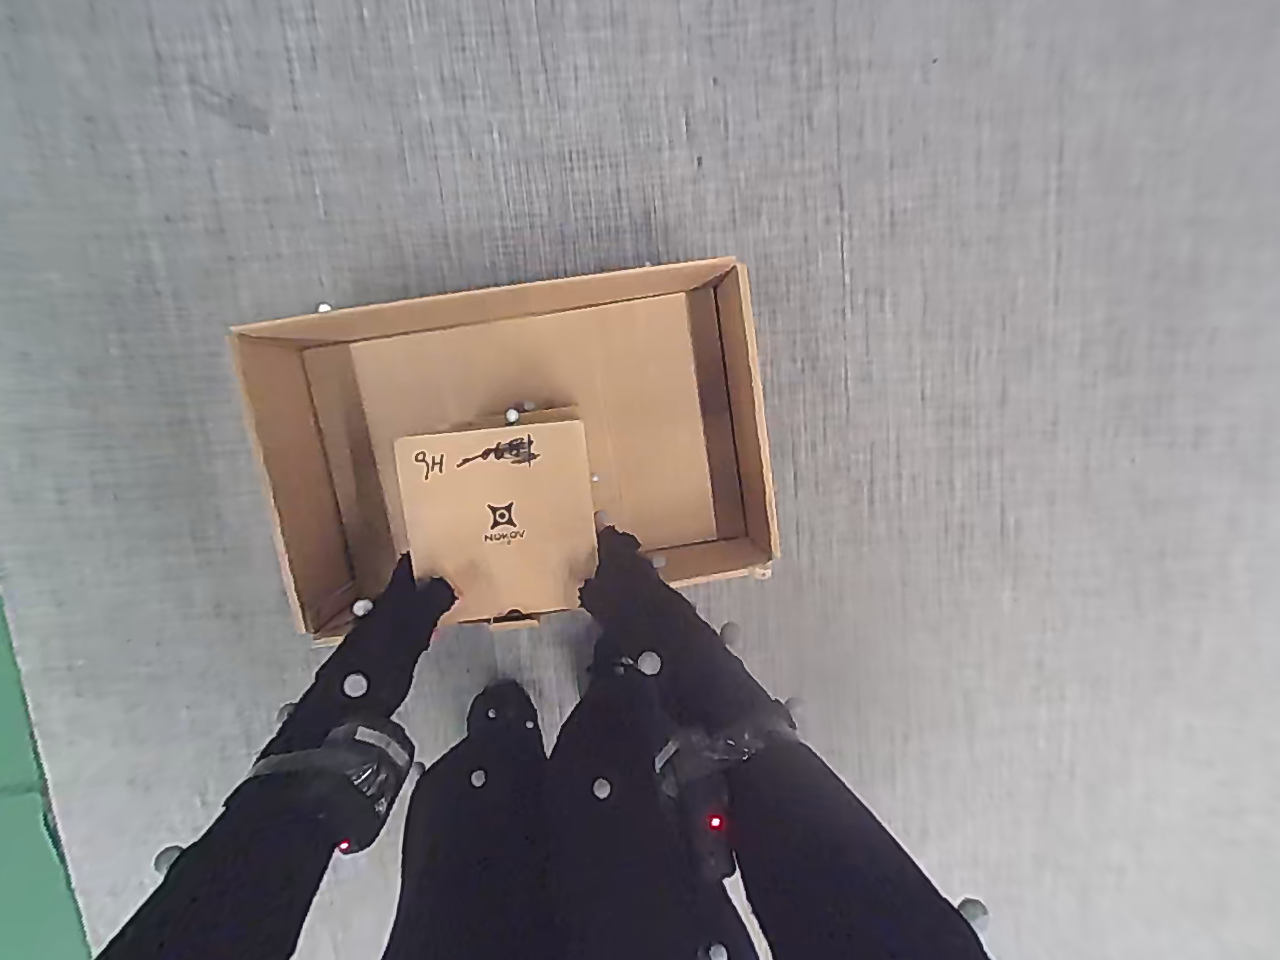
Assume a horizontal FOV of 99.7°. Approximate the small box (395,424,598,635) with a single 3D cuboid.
[{"bbox_3d":[-0.131,0.038,0.563,0.168,0.176,0.179,-5,98,-5],"label":"small box"}]
